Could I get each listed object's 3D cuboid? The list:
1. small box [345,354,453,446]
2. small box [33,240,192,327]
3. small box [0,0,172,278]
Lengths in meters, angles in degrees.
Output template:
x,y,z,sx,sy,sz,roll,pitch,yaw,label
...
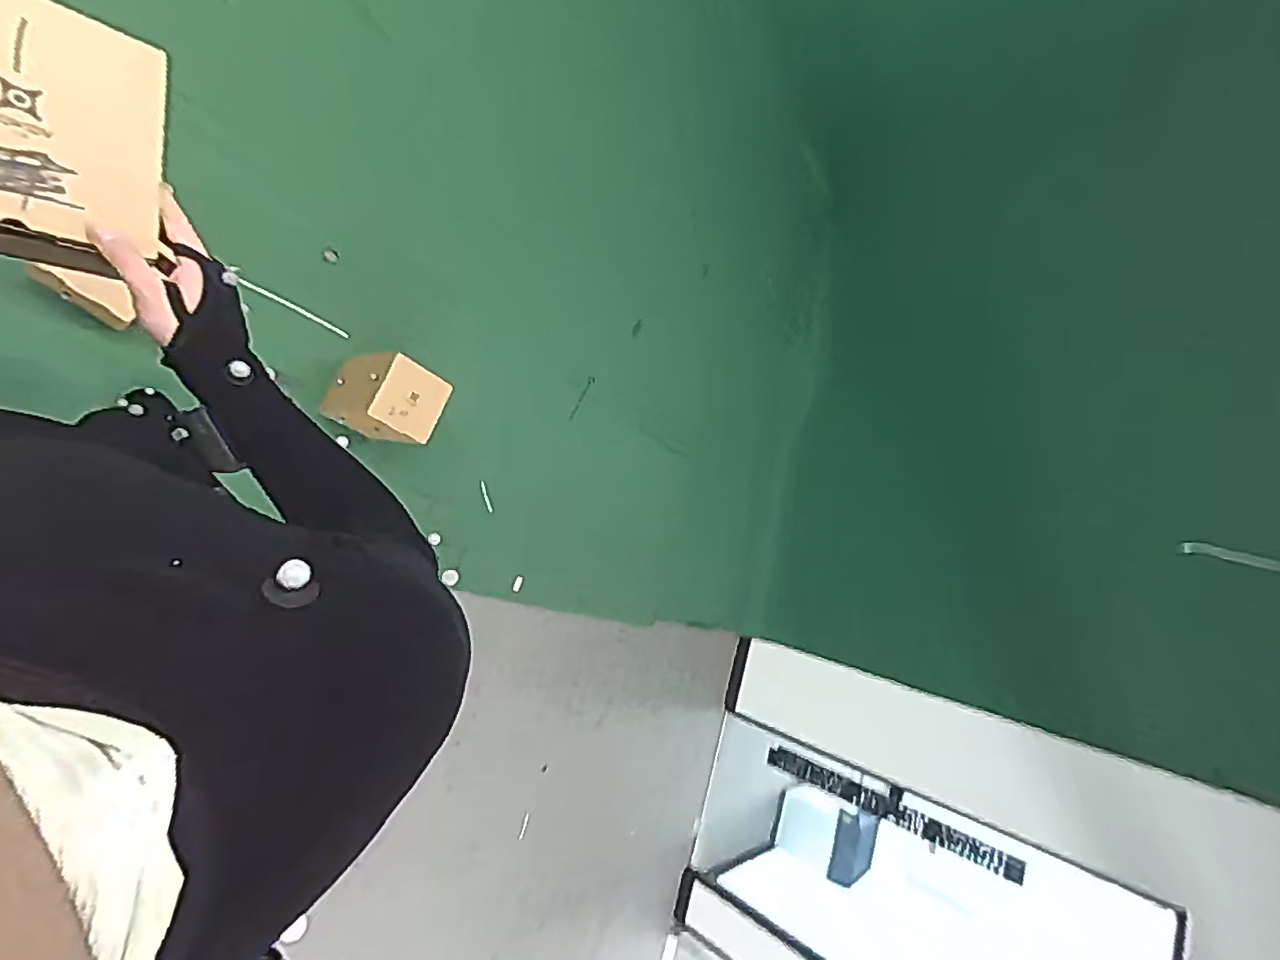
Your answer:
x,y,z,sx,sy,sz,roll,pitch,yaw,label
-0.630,-0.207,1.407,0.168,0.176,0.179,36,70,-46,small box
-1.082,-0.436,1.108,0.168,0.176,0.179,47,63,-42,small box
-0.514,-0.283,0.451,0.168,0.176,0.179,2,96,-48,small box
